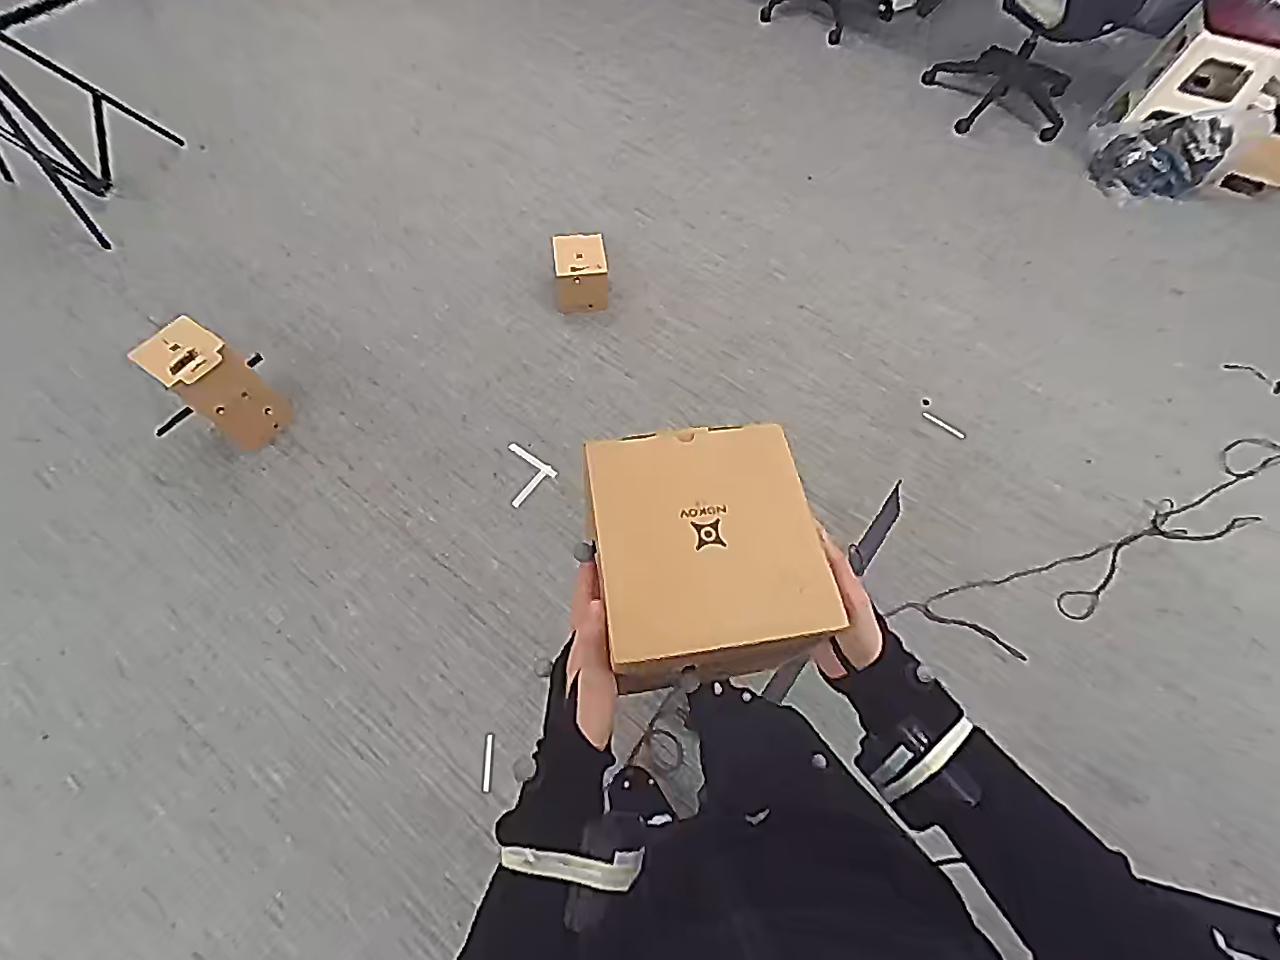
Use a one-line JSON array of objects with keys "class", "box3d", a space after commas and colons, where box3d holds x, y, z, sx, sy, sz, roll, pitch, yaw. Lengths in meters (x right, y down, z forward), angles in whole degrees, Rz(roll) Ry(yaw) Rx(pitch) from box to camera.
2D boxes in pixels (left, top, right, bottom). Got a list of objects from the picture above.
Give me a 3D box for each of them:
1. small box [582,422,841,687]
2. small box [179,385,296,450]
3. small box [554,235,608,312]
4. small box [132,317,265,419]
[{"class": "small box", "box3d": [0.043, 0.074, 0.471, 0.168, 0.176, 0.179, -7, 61, -8]}, {"class": "small box", "box3d": [-1.155, -0.210, 1.568, 0.179, 0.176, 0.168, 30, 67, 13]}, {"class": "small box", "box3d": [-0.198, -0.695, 1.824, 0.168, 0.176, 0.179, -7, 65, -6]}, {"class": "small box", "box3d": [-1.146, -0.285, 1.421, 0.179, 0.176, 0.168, 32, 67, 13]}]
